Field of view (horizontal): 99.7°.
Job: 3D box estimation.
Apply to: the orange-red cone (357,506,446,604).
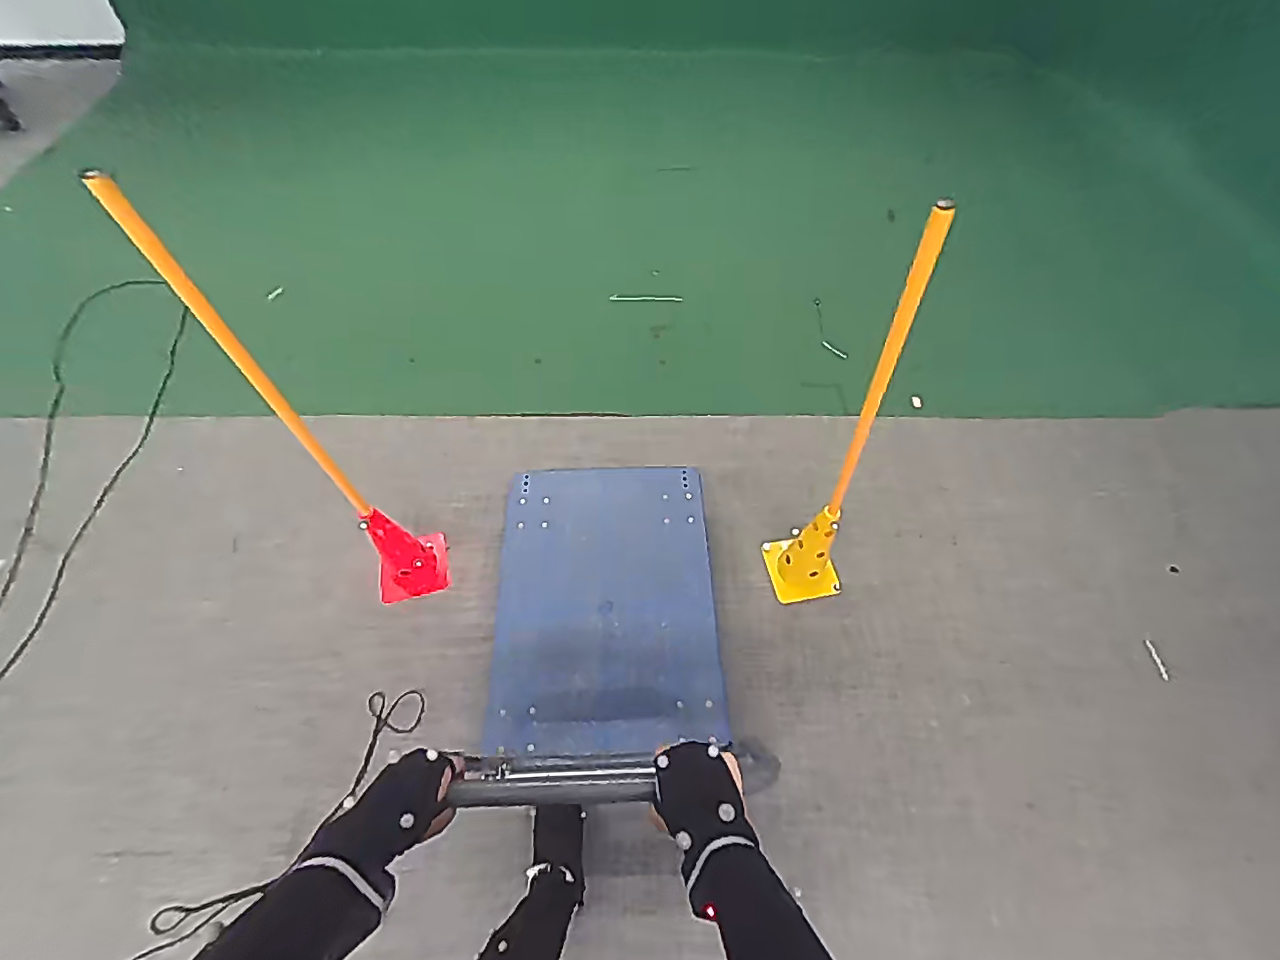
[{"bbox_3d":[-0.695,0.179,1.506,0.199,0.360,0.198,-12,58,-7],"label":"orange-red cone"}]
